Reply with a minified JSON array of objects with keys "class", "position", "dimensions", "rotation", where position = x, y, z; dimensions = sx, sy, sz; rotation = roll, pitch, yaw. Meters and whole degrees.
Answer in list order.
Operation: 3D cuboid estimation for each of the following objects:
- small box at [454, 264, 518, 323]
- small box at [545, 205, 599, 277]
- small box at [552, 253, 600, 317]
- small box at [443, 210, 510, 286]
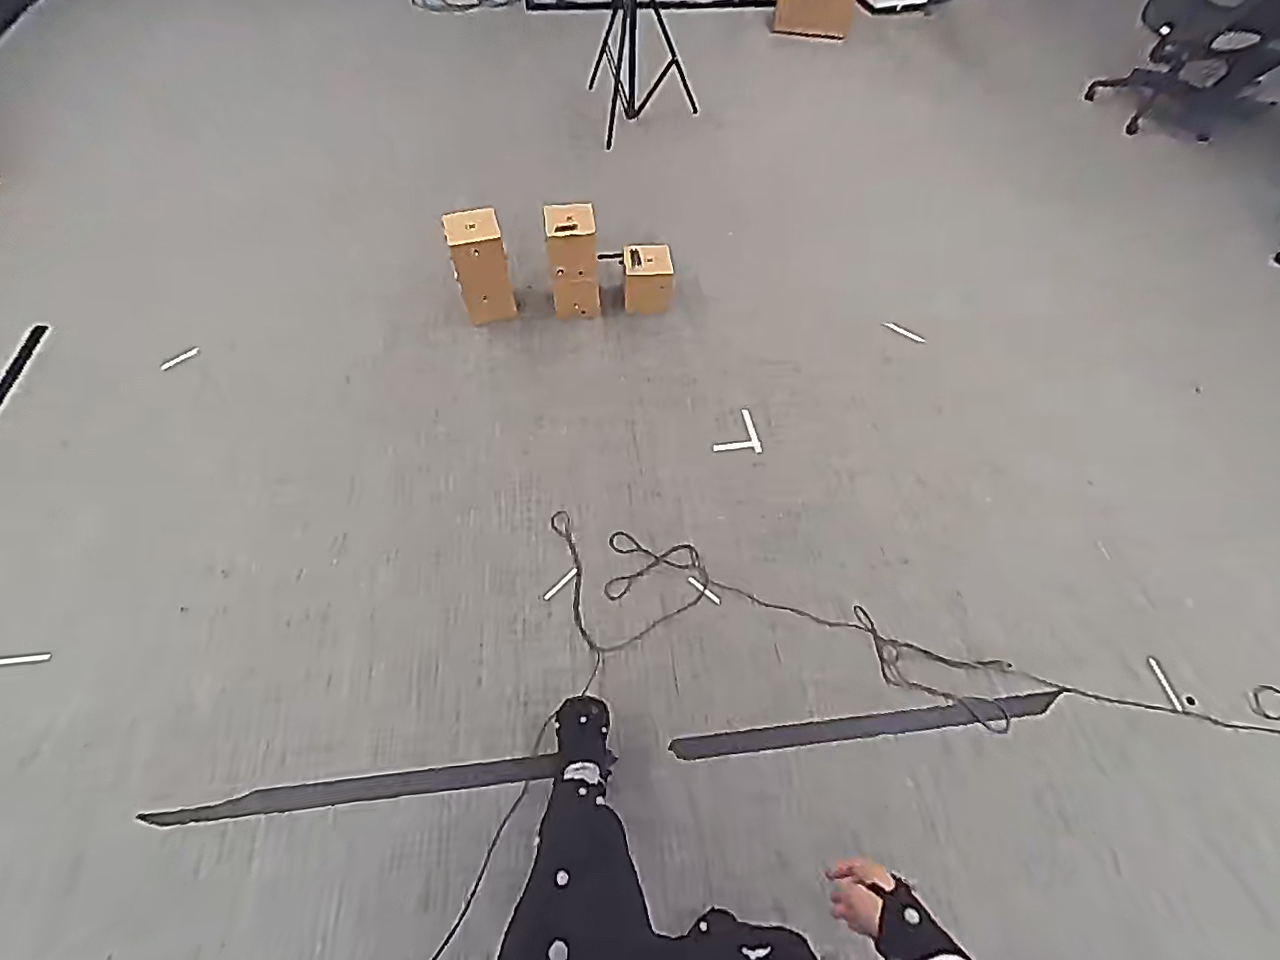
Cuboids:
[{"class":"small box","position":[-0.563,-0.705,1.990],"dimensions":[0.179,0.176,0.168],"rotation":[-17,61,-11]},{"class":"small box","position":[-0.235,-0.823,1.879],"dimensions":[0.168,0.176,0.179],"rotation":[-6,58,-6]},{"class":"small box","position":[-0.236,-0.730,2.016],"dimensions":[0.168,0.176,0.179],"rotation":[-3,60,-3]},{"class":"small box","position":[-0.556,-0.790,1.851],"dimensions":[0.179,0.176,0.168],"rotation":[-14,62,-12]}]
